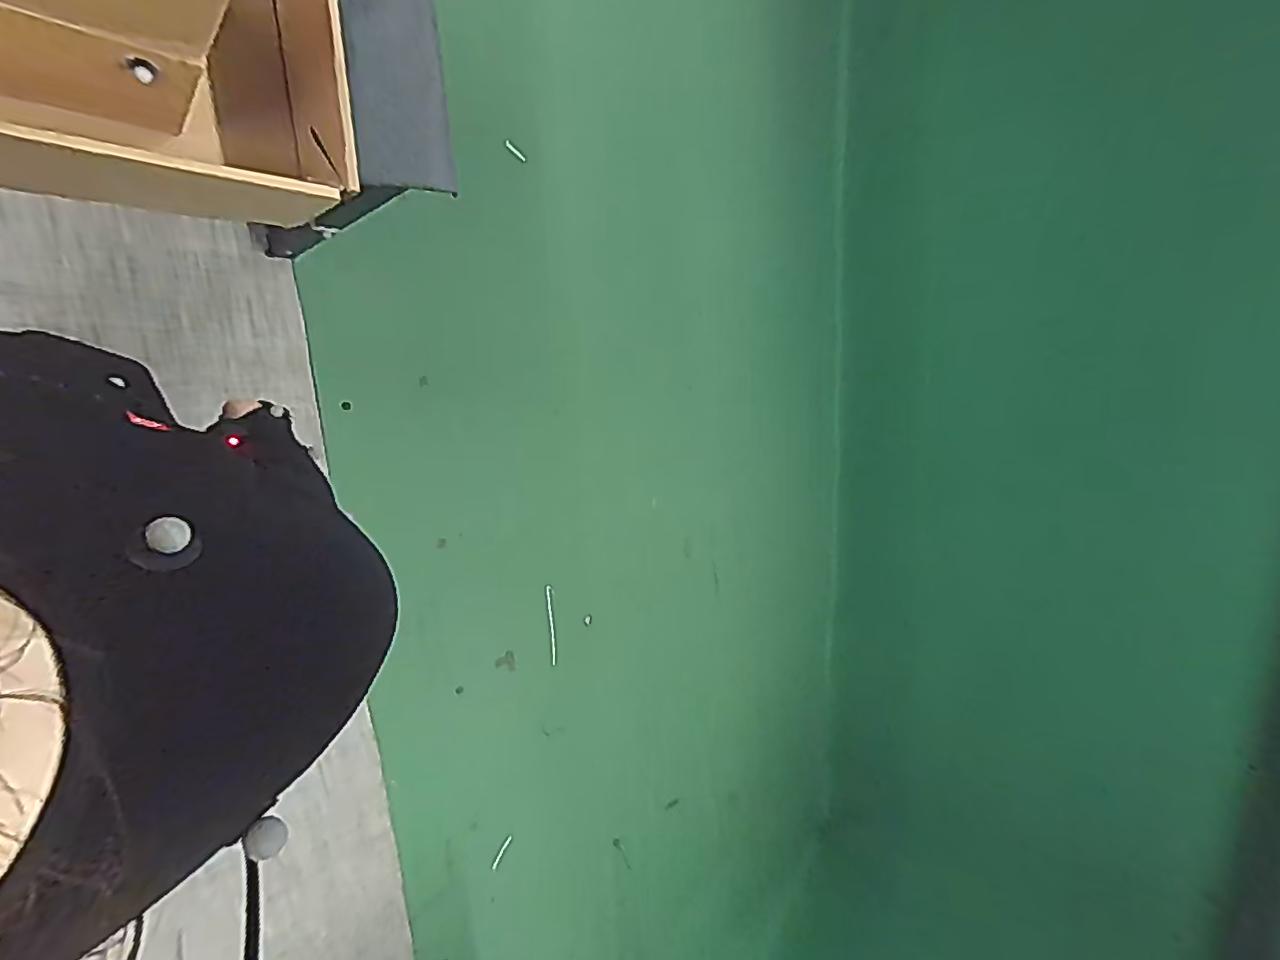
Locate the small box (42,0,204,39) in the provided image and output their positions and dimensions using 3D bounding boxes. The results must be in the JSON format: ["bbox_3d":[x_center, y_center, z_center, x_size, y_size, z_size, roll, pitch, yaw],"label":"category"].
[{"bbox_3d":[-0.374,-0.412,0.320,0.179,0.176,0.168,-15,108,-46],"label":"small box"}]
